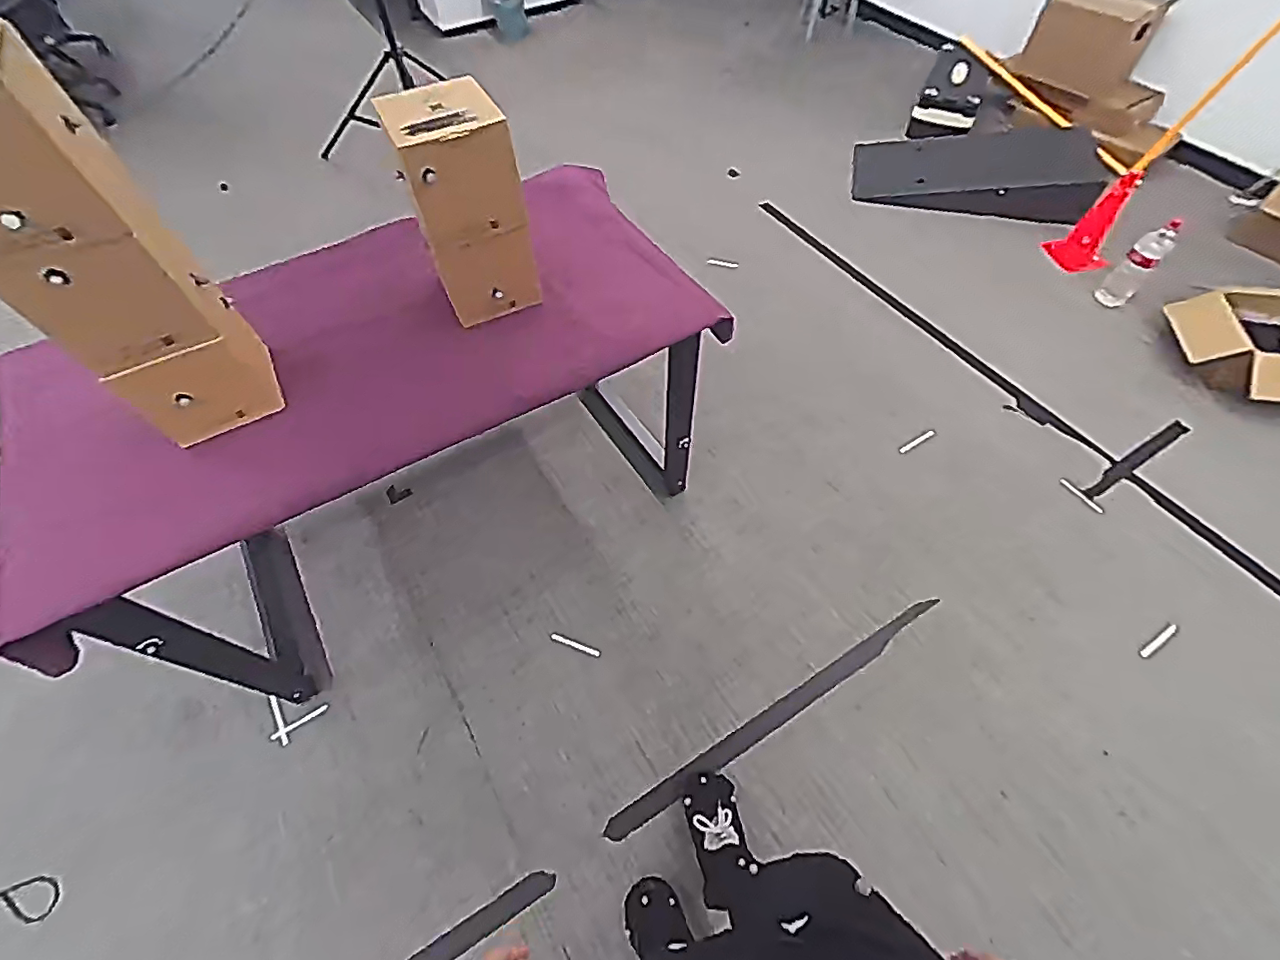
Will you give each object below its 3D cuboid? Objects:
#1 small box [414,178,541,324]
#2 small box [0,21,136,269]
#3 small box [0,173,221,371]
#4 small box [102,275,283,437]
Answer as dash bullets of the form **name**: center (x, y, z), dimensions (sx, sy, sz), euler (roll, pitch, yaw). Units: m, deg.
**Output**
- **small box**: center (-0.303, -0.432, 1.027), dimensions (0.168, 0.176, 0.179), euler (-23, 61, -12)
- **small box**: center (-0.726, -0.373, 0.610), dimensions (0.168, 0.176, 0.179), euler (-27, 62, -15)
- **small box**: center (-0.729, -0.285, 0.749), dimensions (0.168, 0.176, 0.179), euler (-28, 61, -15)
- **small box**: center (-0.723, -0.193, 0.885), dimensions (0.168, 0.176, 0.179), euler (-27, 61, -15)
